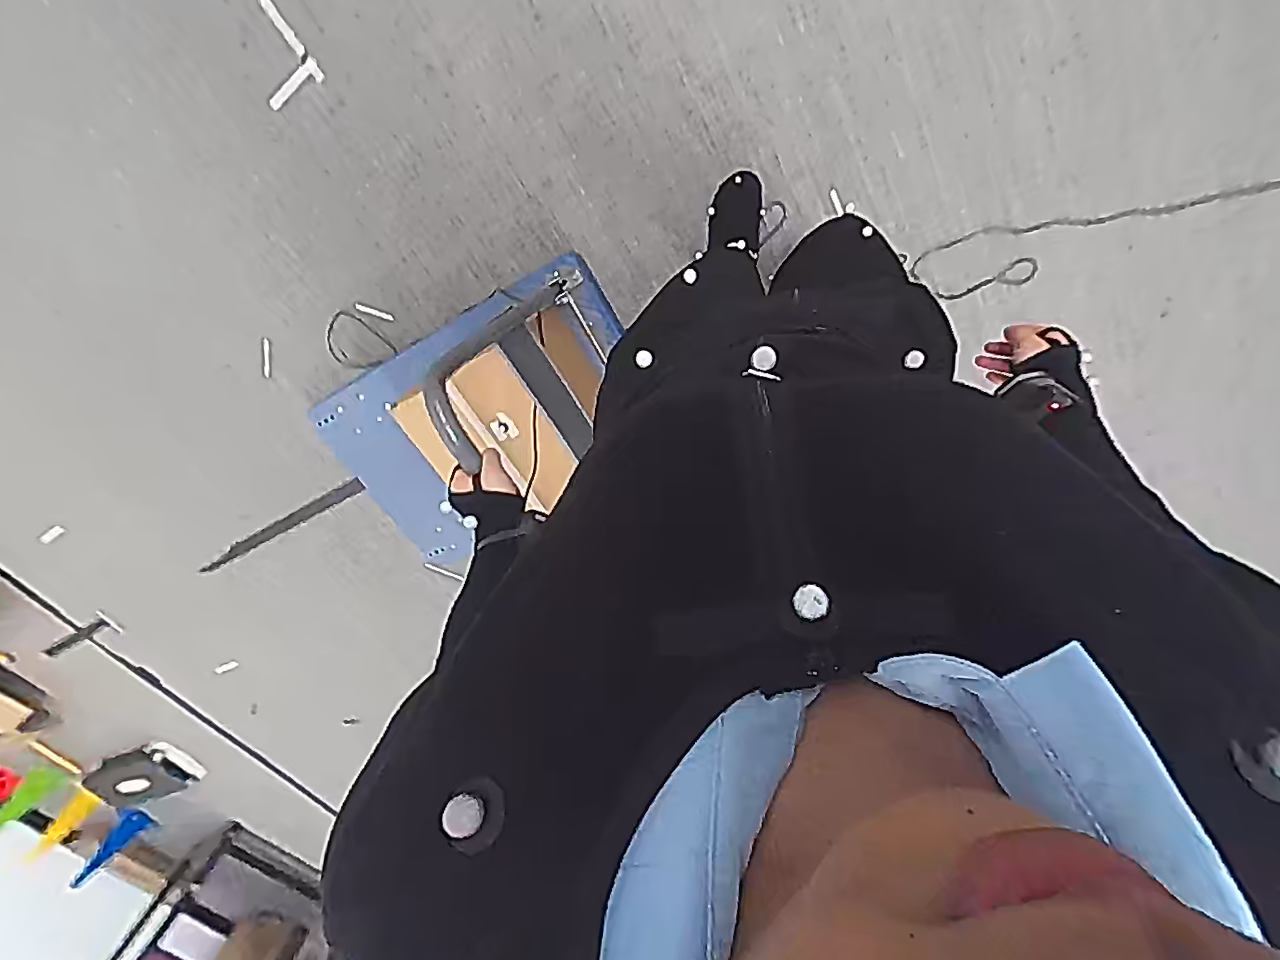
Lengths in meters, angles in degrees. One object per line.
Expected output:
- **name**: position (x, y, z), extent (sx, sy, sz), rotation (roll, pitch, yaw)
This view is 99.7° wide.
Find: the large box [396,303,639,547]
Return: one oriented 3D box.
- **large box**: position (-0.244, -0.127, 1.232), extent (0.320, 0.320, 0.408), rotation (-23, 113, 19)
